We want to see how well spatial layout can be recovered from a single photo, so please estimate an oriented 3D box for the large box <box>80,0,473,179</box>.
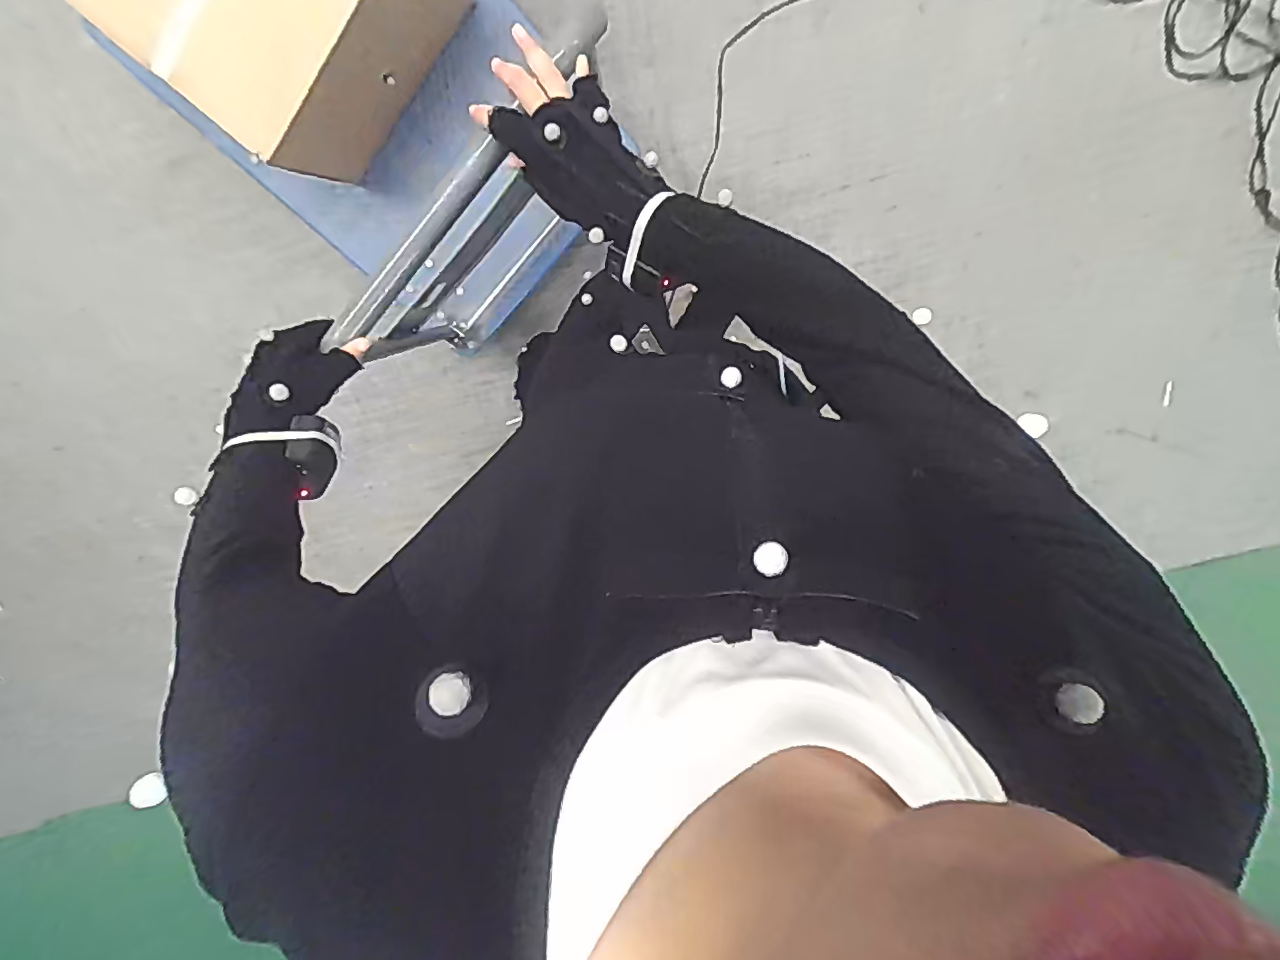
[{"bbox_3d":[-0.524,-0.762,0.843,0.320,0.320,0.408,39,107,-16],"label":"large box"}]
